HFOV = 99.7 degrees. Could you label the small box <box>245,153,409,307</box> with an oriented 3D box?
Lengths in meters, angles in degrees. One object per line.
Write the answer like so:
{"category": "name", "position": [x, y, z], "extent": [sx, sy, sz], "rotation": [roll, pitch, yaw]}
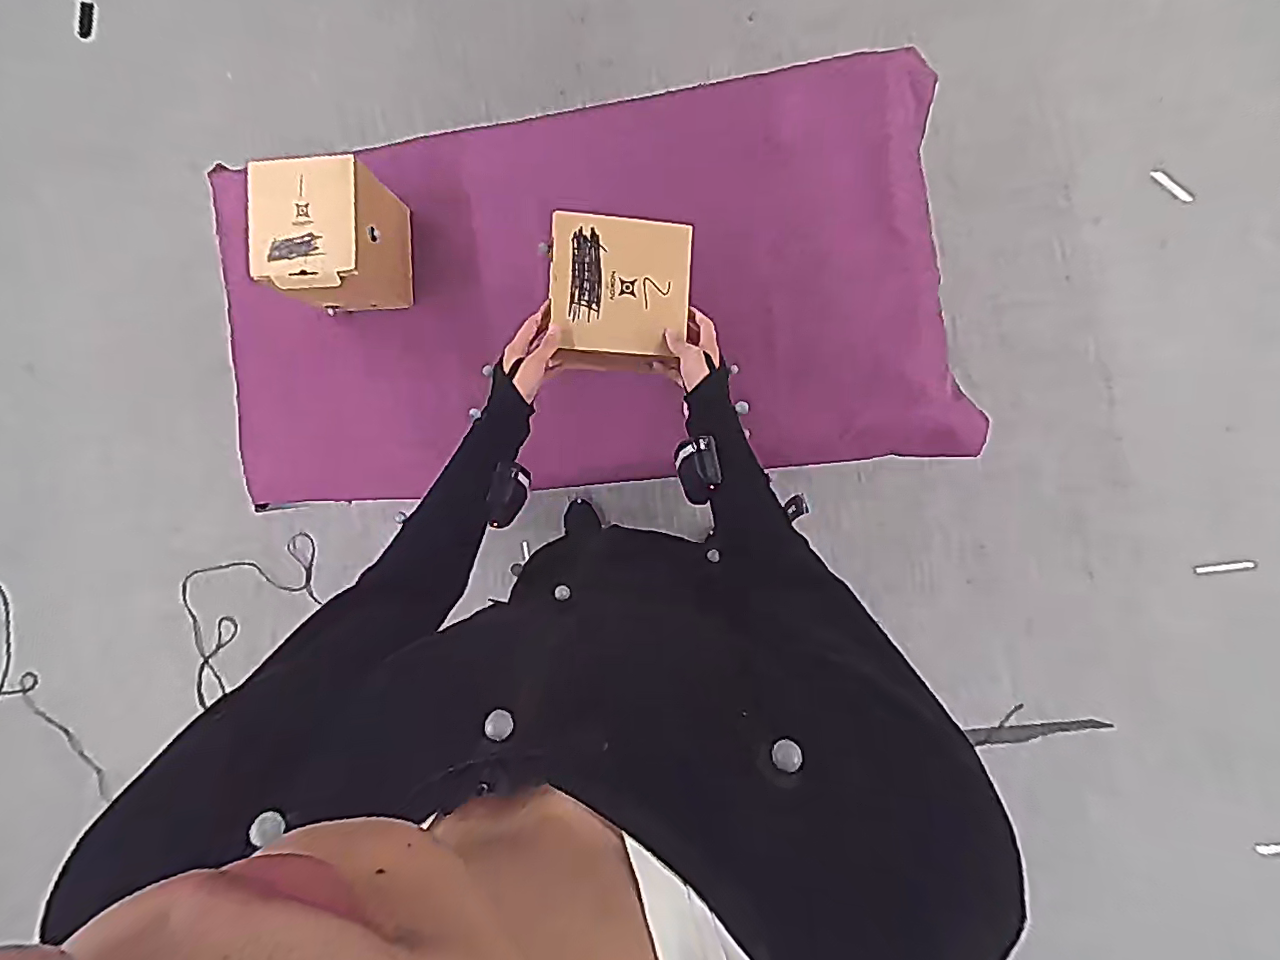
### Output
{"category": "small box", "position": [-0.487, -0.384, 0.865], "extent": [0.168, 0.176, 0.179], "rotation": [-2, 90, 4]}
